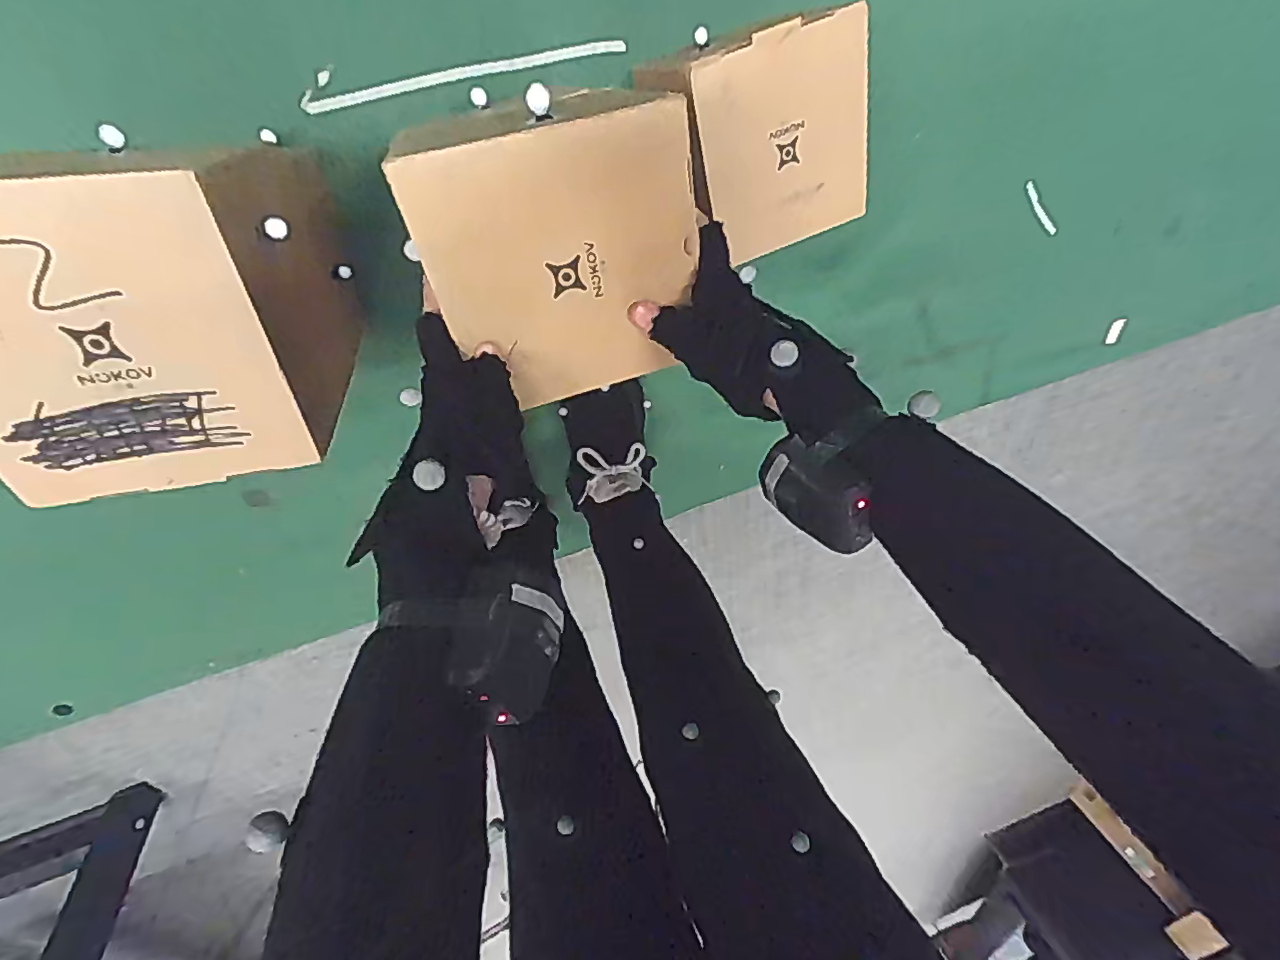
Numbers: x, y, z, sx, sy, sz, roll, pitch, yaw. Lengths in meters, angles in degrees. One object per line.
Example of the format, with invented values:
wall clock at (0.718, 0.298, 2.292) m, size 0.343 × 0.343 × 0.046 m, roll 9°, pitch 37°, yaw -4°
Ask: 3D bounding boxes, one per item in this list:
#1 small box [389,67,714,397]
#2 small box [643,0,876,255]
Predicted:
small box at (-0.061, -0.189, 0.402) m, size 0.179 × 0.176 × 0.168 m, roll -18°, pitch 129°, yaw -9°
small box at (0.116, -0.361, 0.555) m, size 0.168 × 0.176 × 0.179 m, roll -22°, pitch 130°, yaw -5°
